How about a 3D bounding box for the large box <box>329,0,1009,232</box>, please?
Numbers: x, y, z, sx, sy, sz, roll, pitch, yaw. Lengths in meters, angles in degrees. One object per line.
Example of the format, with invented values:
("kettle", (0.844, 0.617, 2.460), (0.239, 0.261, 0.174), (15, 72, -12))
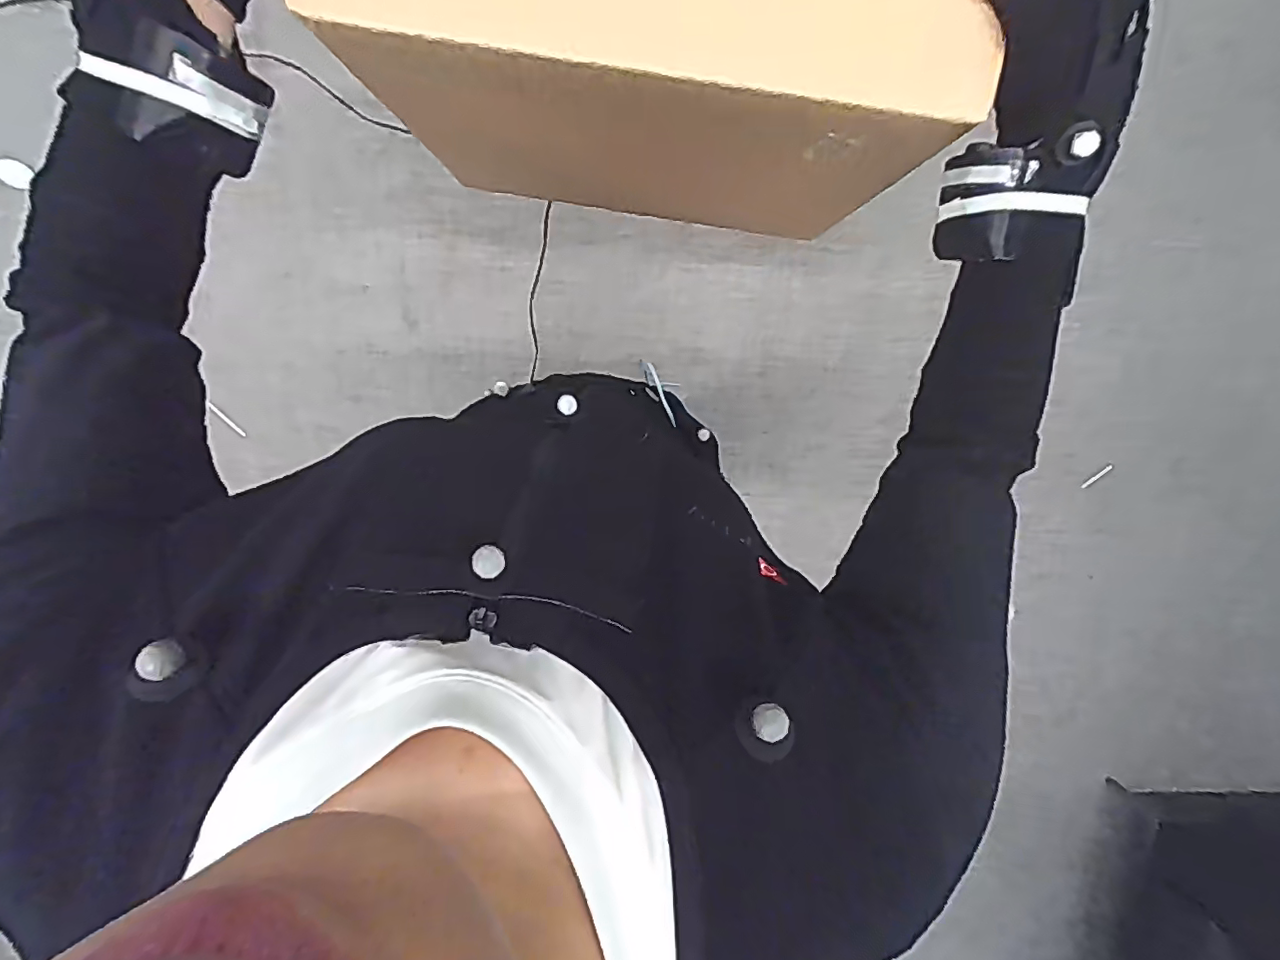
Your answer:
("large box", (0.027, -0.421, 0.437), (0.408, 0.320, 0.320), (7, 102, -3))
